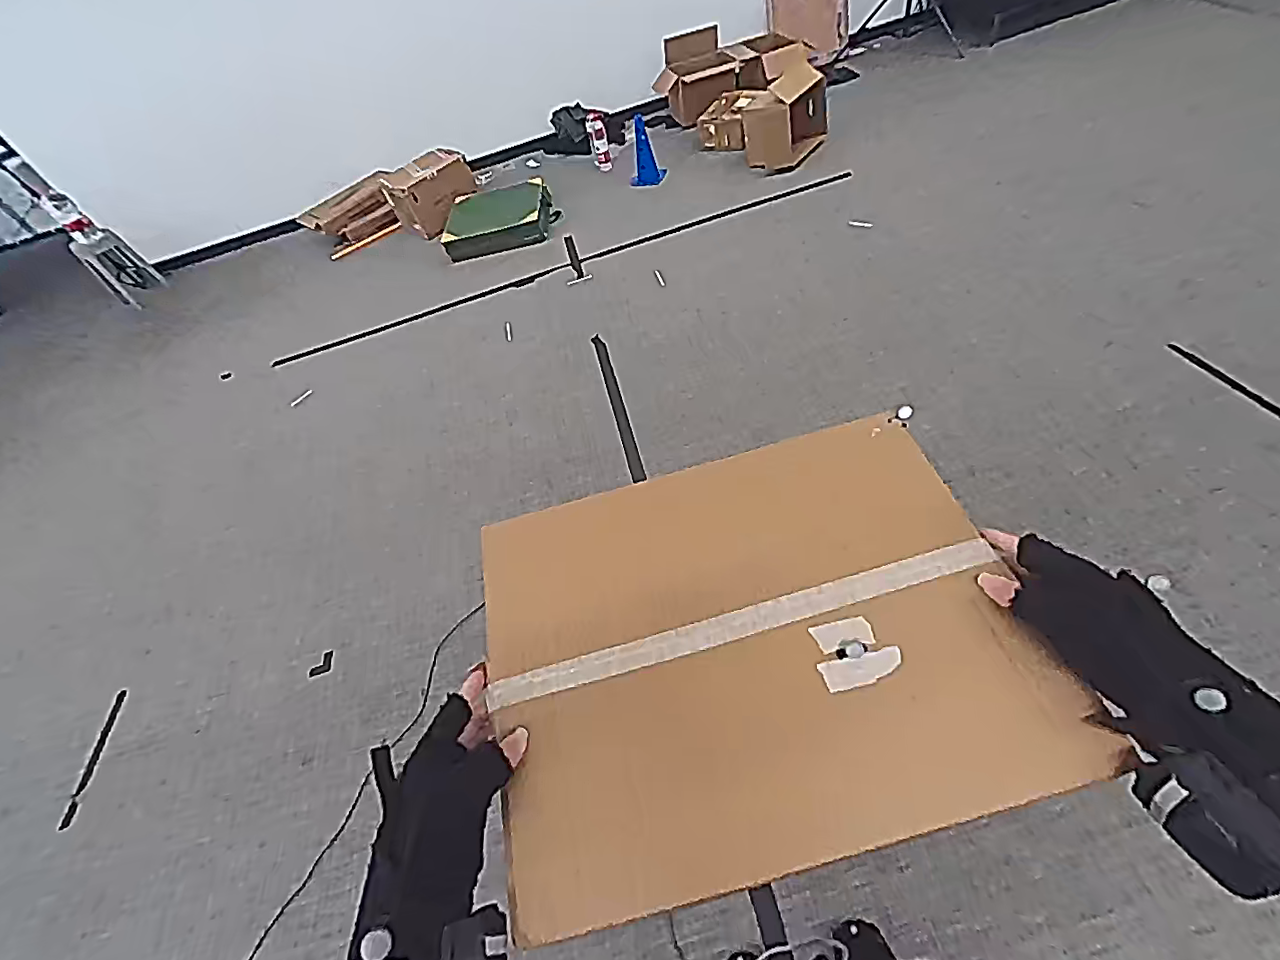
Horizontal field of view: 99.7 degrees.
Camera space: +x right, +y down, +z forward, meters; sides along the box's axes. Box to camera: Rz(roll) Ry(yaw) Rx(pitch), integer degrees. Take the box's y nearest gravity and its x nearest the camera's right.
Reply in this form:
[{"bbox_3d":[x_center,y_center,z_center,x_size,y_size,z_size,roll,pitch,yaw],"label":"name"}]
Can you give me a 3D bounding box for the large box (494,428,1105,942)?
[{"bbox_3d":[0.105,0.207,0.557,0.408,0.320,0.320,-16,55,-1],"label":"large box"}]
